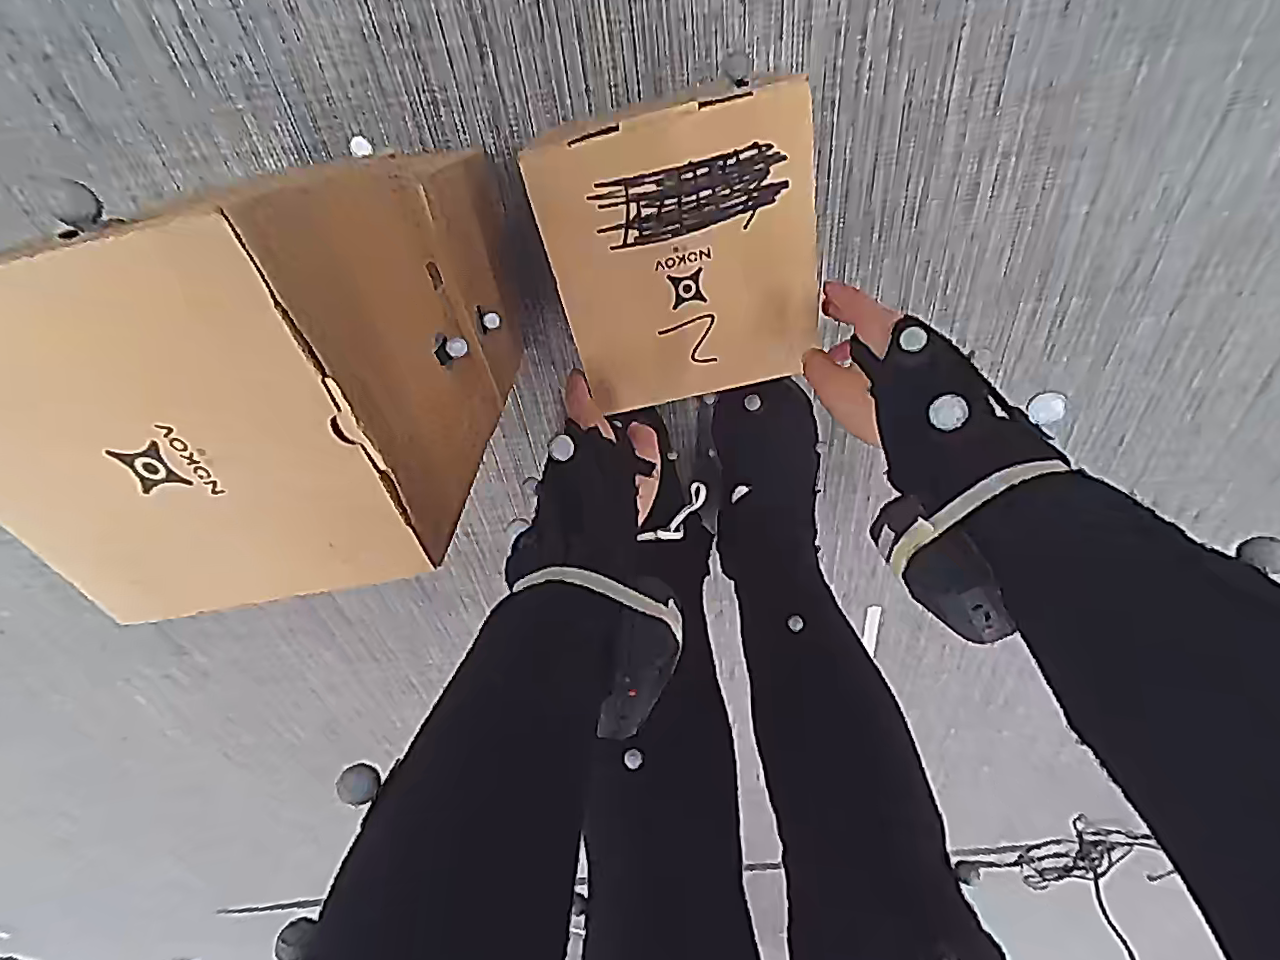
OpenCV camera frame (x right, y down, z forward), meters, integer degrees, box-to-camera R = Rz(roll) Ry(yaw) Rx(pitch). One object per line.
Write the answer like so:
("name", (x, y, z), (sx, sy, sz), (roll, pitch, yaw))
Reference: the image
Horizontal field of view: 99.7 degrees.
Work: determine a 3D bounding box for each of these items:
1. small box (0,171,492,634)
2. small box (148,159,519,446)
("small box", (-0.200, -0.048, 0.288), (0.179, 0.176, 0.168), (-11, 125, 5))
("small box", (-0.200, -0.138, 0.424), (0.168, 0.176, 0.179), (-5, 125, 1))
